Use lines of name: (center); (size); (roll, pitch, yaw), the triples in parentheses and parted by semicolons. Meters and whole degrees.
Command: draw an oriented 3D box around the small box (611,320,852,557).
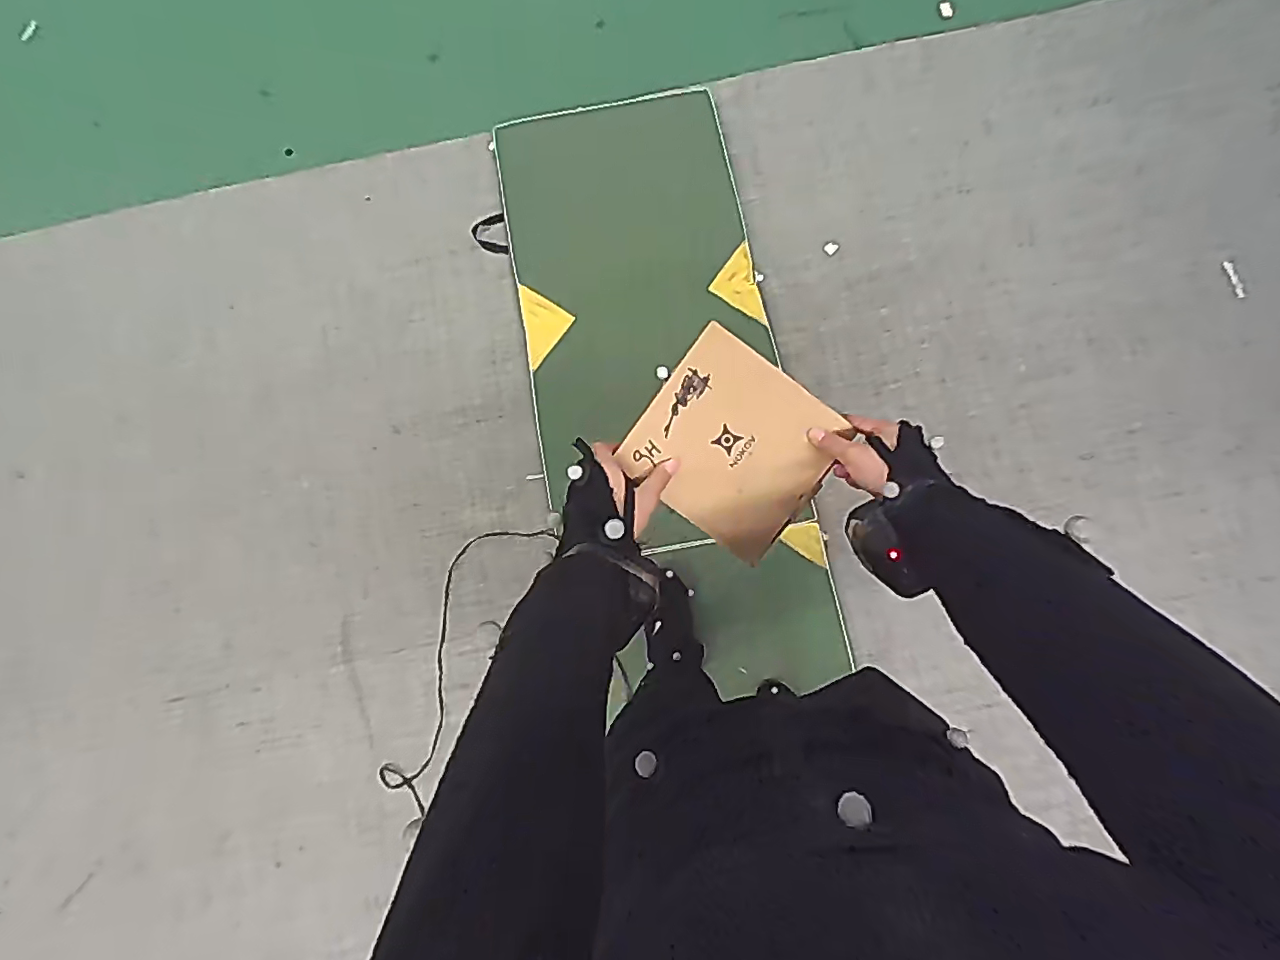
small box: (0.088, -0.047, 0.596); (0.179, 0.176, 0.168); (36, 94, -3)
